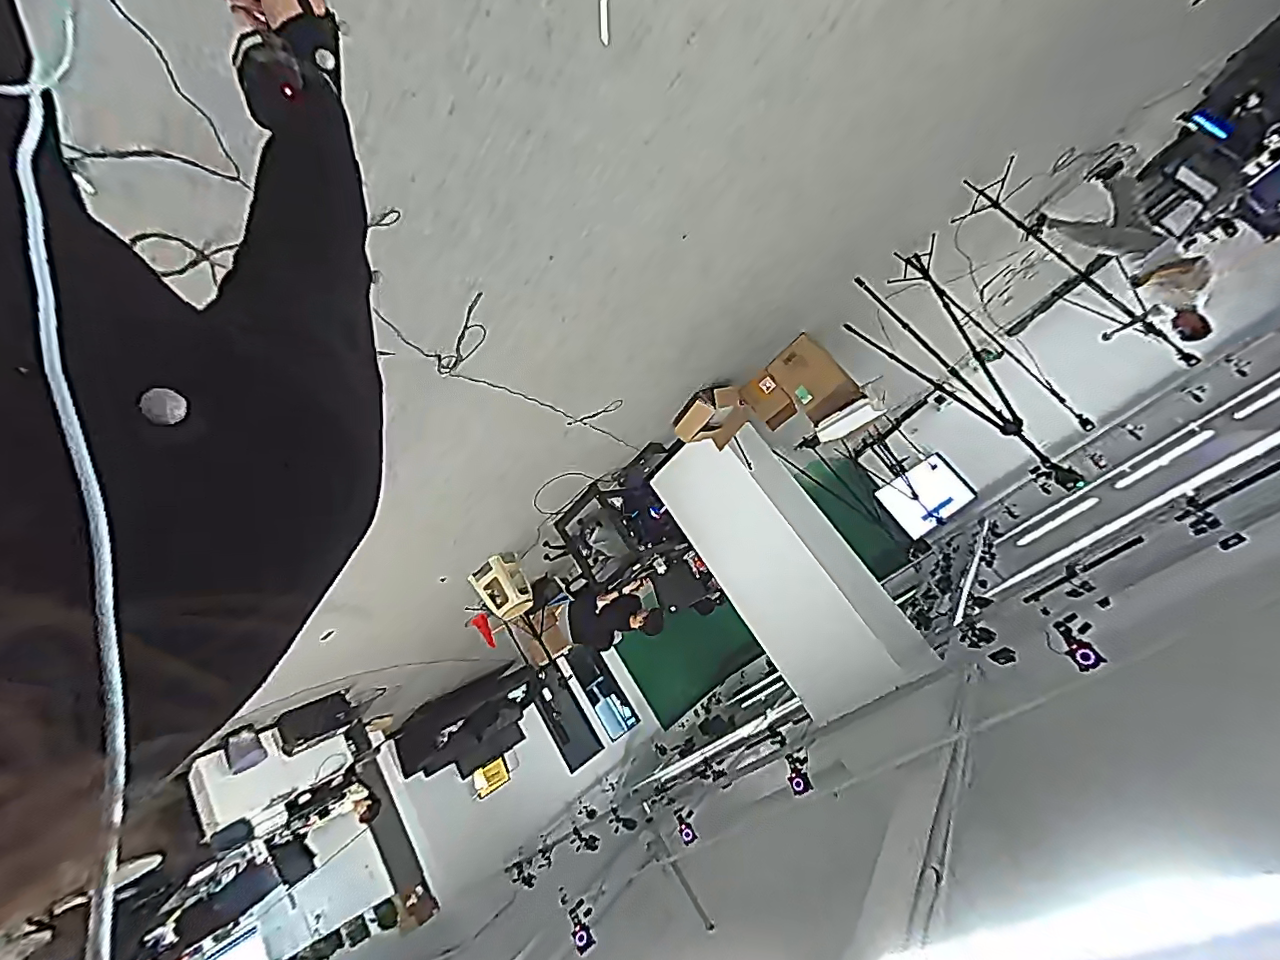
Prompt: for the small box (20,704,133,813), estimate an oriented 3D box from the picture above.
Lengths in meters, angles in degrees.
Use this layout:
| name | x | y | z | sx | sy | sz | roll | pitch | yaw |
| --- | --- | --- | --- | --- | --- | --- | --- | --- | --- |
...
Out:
| name | x | y | z | sx | sy | sz | roll | pitch | yaw |
| --- | --- | --- | --- | --- | --- | --- | --- | --- | --- |
| small box | -1.491 | 0.727 | 1.427 | 0.168 | 0.176 | 0.179 | -44 | 160 | 27 |
